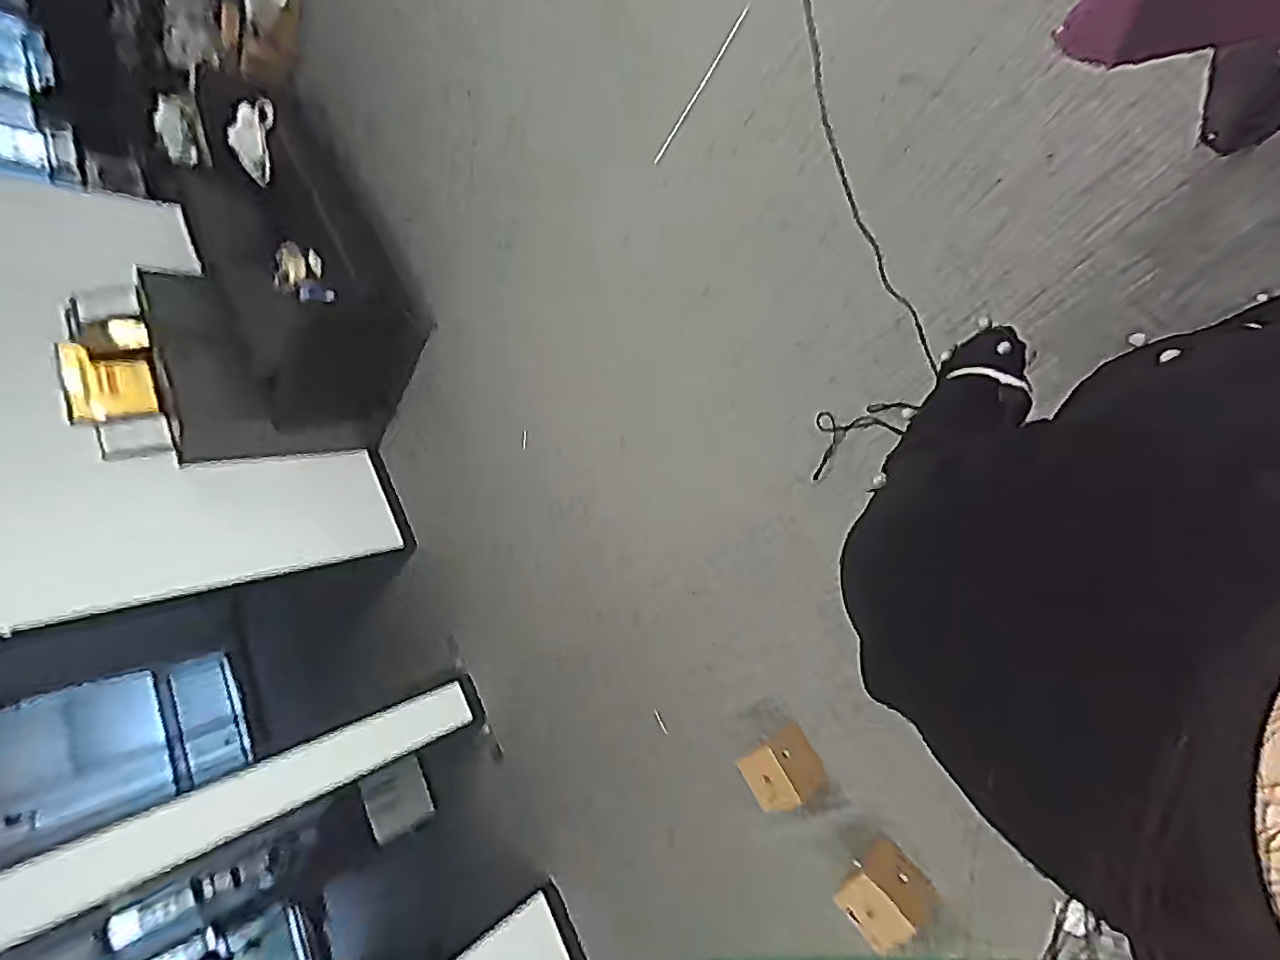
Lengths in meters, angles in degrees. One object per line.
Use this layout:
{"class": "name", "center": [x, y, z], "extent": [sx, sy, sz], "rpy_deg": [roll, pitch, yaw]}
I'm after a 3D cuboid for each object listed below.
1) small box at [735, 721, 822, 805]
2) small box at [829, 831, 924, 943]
{"class": "small box", "center": [0.447, 0.901, 1.738], "extent": [0.168, 0.176, 0.179], "rpy_deg": [-48, 64, 38]}
{"class": "small box", "center": [0.686, 1.161, 1.555], "extent": [0.168, 0.176, 0.179], "rpy_deg": [44, 124, 29]}
